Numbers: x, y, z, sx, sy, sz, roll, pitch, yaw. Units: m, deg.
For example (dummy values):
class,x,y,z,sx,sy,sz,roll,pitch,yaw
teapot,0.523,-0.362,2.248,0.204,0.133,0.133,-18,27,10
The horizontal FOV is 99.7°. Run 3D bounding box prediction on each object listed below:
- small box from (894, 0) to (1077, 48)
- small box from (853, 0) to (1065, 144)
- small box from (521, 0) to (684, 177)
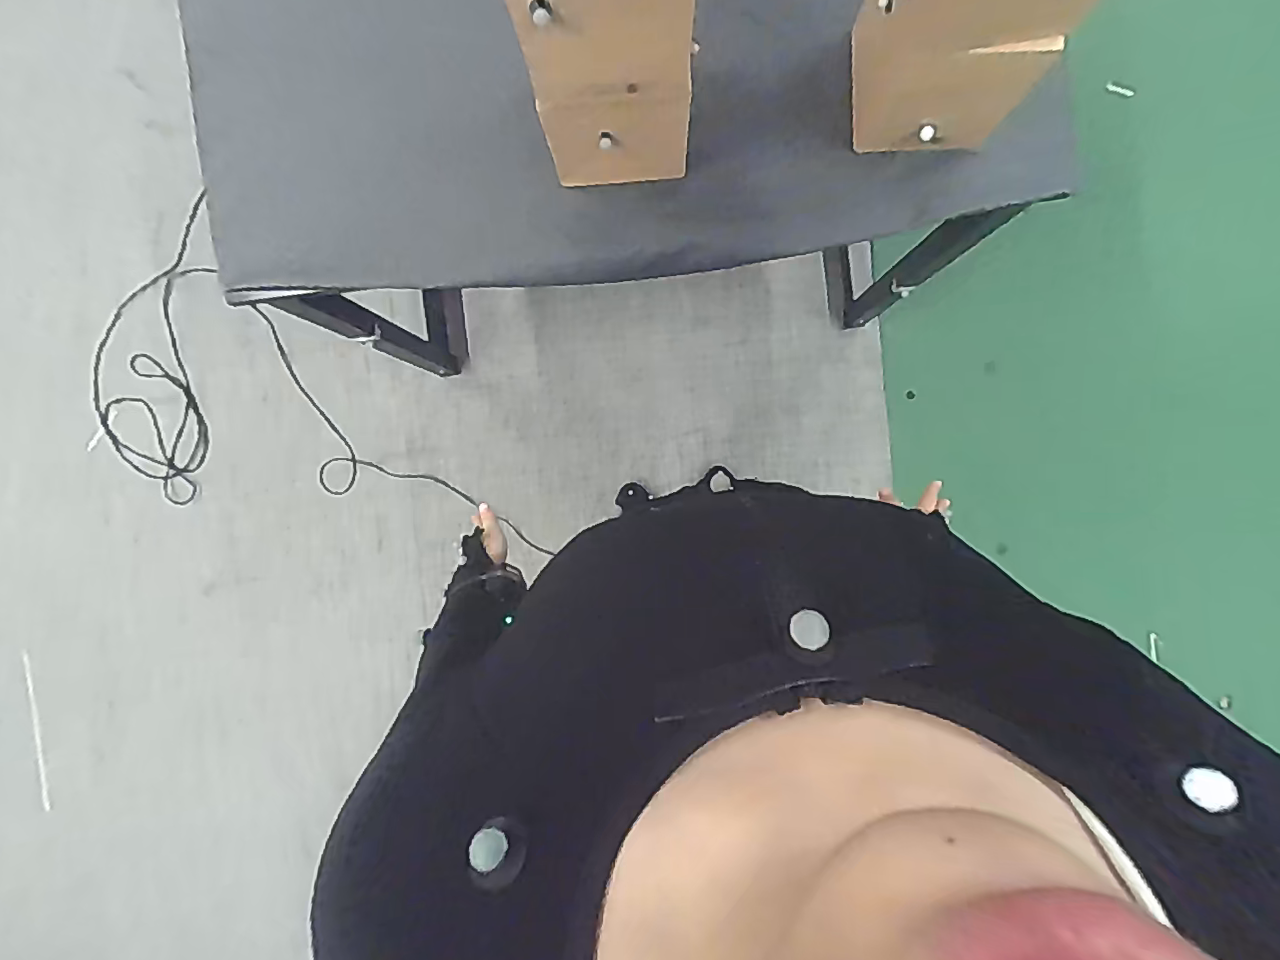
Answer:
class,x,y,z,sx,sy,sz,roll,pitch,yaw
small box,0.346,-0.544,0.487,0.179,0.176,0.168,-8,87,4
small box,0.365,-0.542,0.649,0.168,0.176,0.179,0,90,3
small box,-0.037,-0.502,0.669,0.179,0.176,0.168,-4,90,3
